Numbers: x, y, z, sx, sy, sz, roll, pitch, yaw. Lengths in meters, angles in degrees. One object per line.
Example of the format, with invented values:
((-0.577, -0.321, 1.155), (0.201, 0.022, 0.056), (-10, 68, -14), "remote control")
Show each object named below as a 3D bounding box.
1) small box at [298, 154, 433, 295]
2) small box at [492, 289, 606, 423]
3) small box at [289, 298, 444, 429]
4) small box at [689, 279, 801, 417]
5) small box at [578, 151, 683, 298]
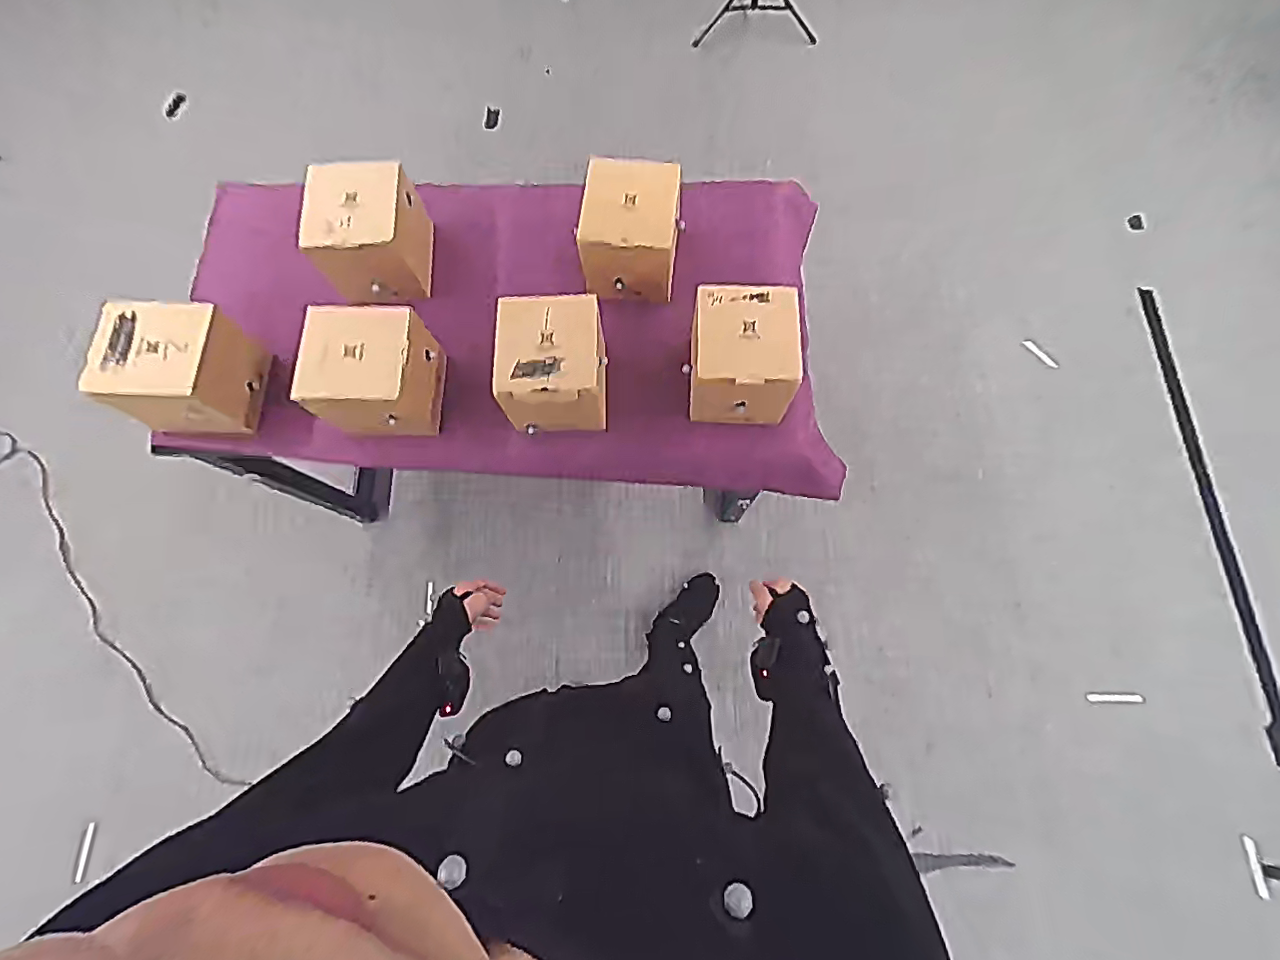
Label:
((-0.502, -0.473, 1.015), (0.168, 0.176, 0.179), (-3, 75, 0), "small box")
((-0.147, -0.205, 0.935), (0.168, 0.176, 0.179), (-1, 73, 0), "small box")
((-0.457, -0.194, 0.935), (0.179, 0.176, 0.168), (1, 74, 0), "small box")
((0.175, -0.220, 0.934), (0.168, 0.176, 0.179), (3, 73, 2), "small box")
((-0.014, -0.471, 1.011), (0.168, 0.176, 0.179), (6, 76, 3), "small box")
